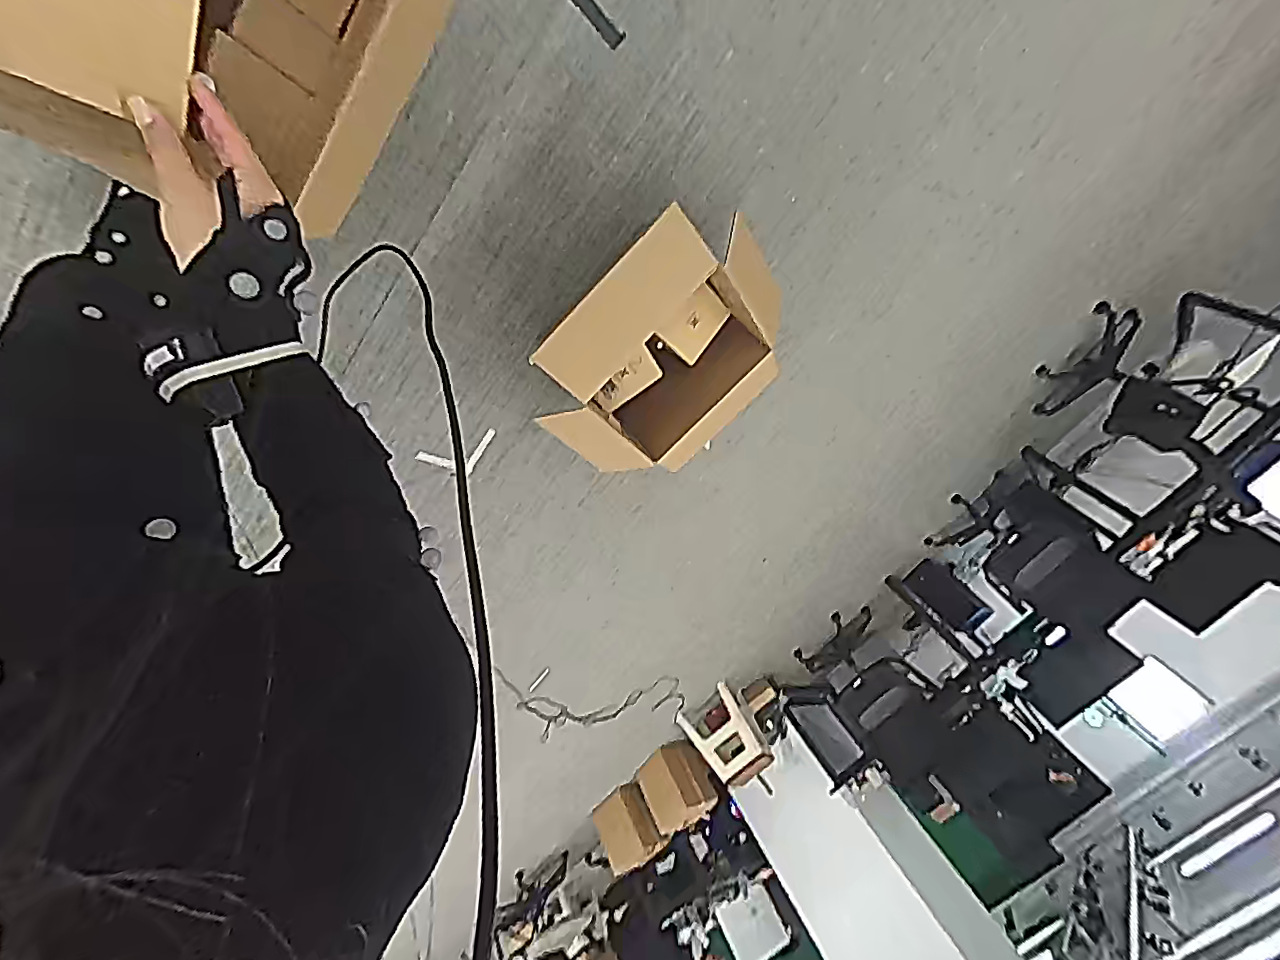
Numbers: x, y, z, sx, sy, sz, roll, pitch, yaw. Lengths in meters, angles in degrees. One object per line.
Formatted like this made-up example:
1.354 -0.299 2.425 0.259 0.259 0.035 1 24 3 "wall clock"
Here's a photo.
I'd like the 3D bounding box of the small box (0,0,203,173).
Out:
-0.390 -0.318 0.334 0.179 0.176 0.168 5 99 -46 "small box"
